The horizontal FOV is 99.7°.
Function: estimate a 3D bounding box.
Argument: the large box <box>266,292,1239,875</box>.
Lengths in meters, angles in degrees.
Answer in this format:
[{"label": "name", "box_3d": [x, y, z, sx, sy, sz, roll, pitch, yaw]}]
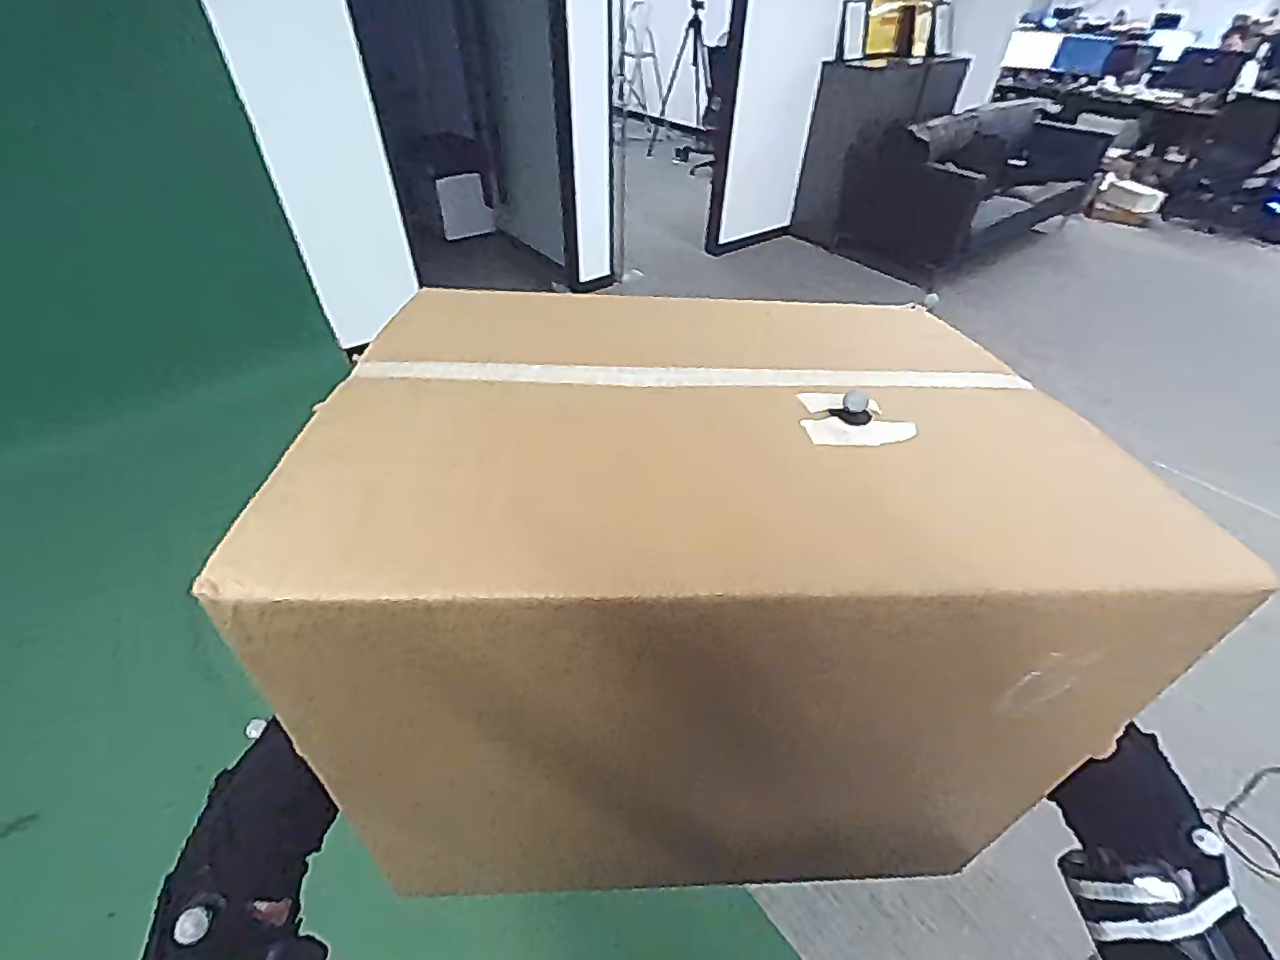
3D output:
[{"label": "large box", "box_3d": [0.039, 0.066, 0.418, 0.408, 0.320, 0.320, 2, 38, -4]}]
